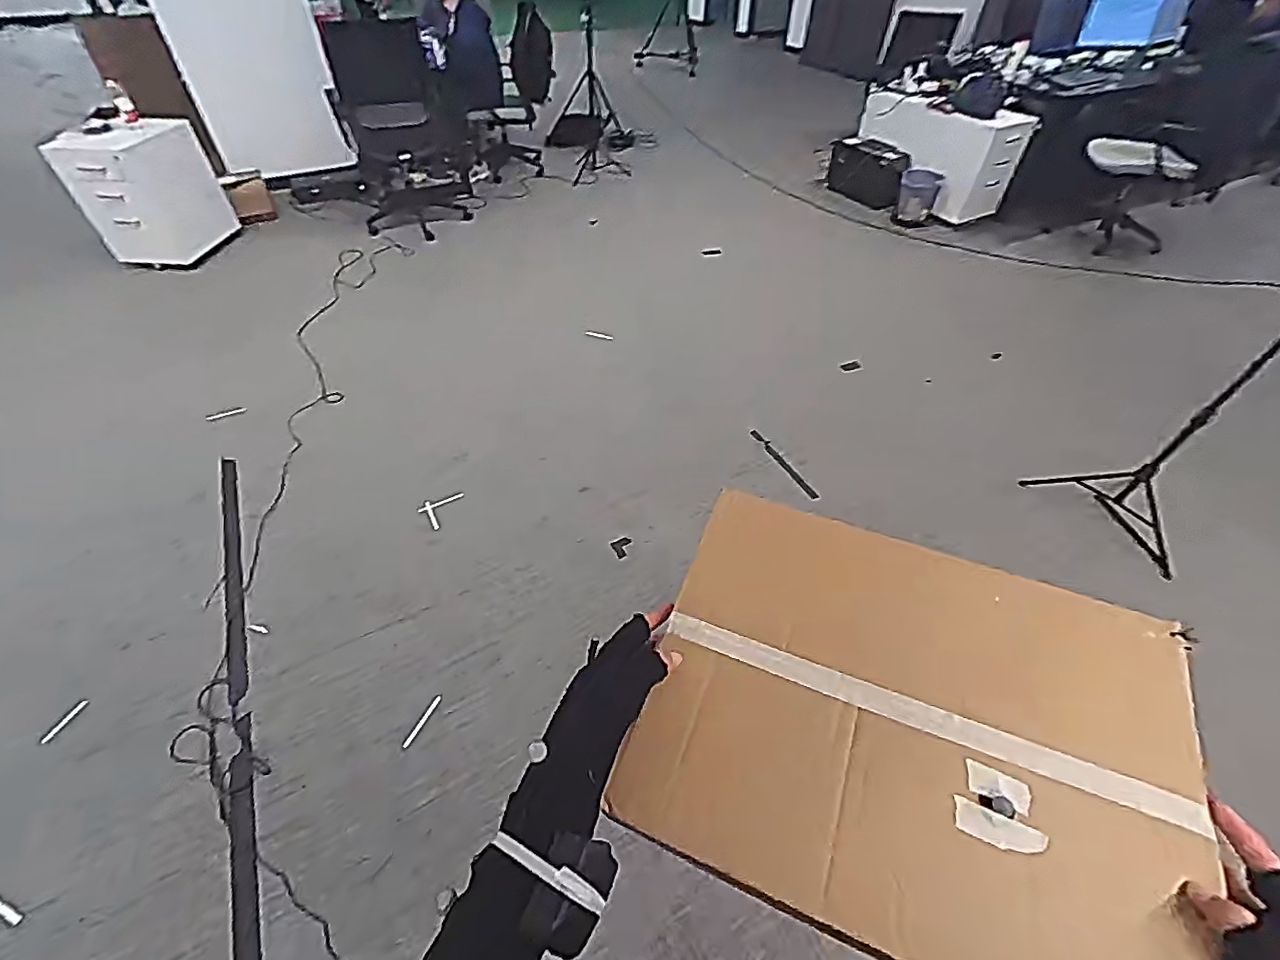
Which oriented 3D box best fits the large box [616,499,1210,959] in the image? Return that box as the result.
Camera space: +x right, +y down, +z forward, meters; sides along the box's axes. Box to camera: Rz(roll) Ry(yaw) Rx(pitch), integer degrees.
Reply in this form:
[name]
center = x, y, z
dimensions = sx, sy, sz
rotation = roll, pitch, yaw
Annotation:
[large box]
center = 0.224, 0.275, 0.567
dimensions = 0.408, 0.320, 0.320
rotation = 18, 59, 15
